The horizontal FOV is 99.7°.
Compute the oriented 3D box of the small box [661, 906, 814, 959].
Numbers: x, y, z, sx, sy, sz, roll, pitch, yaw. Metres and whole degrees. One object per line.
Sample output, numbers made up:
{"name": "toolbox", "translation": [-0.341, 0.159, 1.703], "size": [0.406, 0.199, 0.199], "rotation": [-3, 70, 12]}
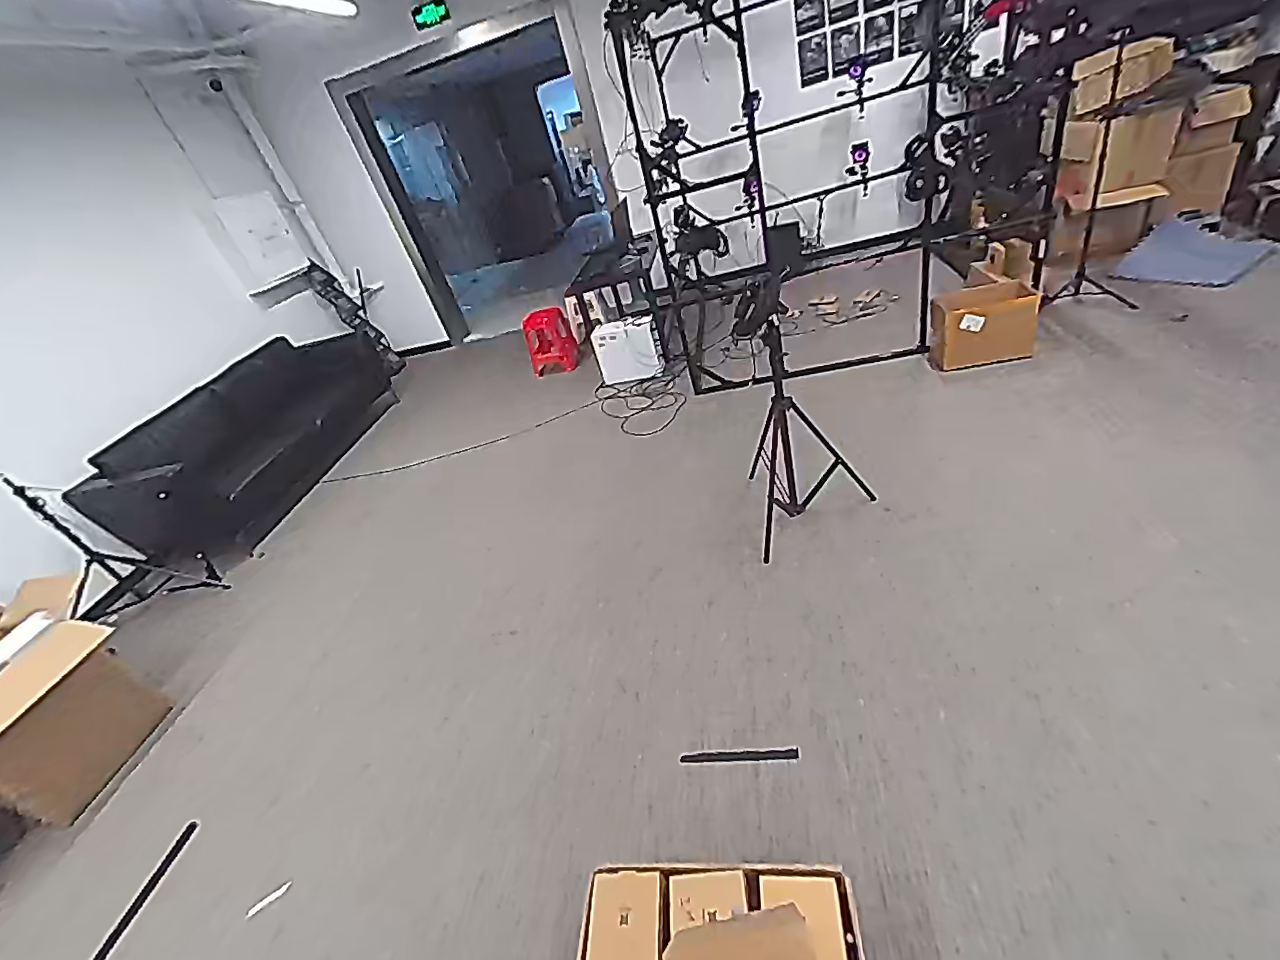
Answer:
{"name": "small box", "translation": [0.130, 0.616, 0.611], "size": [0.168, 0.176, 0.179], "rotation": [-15, 56, 1]}
